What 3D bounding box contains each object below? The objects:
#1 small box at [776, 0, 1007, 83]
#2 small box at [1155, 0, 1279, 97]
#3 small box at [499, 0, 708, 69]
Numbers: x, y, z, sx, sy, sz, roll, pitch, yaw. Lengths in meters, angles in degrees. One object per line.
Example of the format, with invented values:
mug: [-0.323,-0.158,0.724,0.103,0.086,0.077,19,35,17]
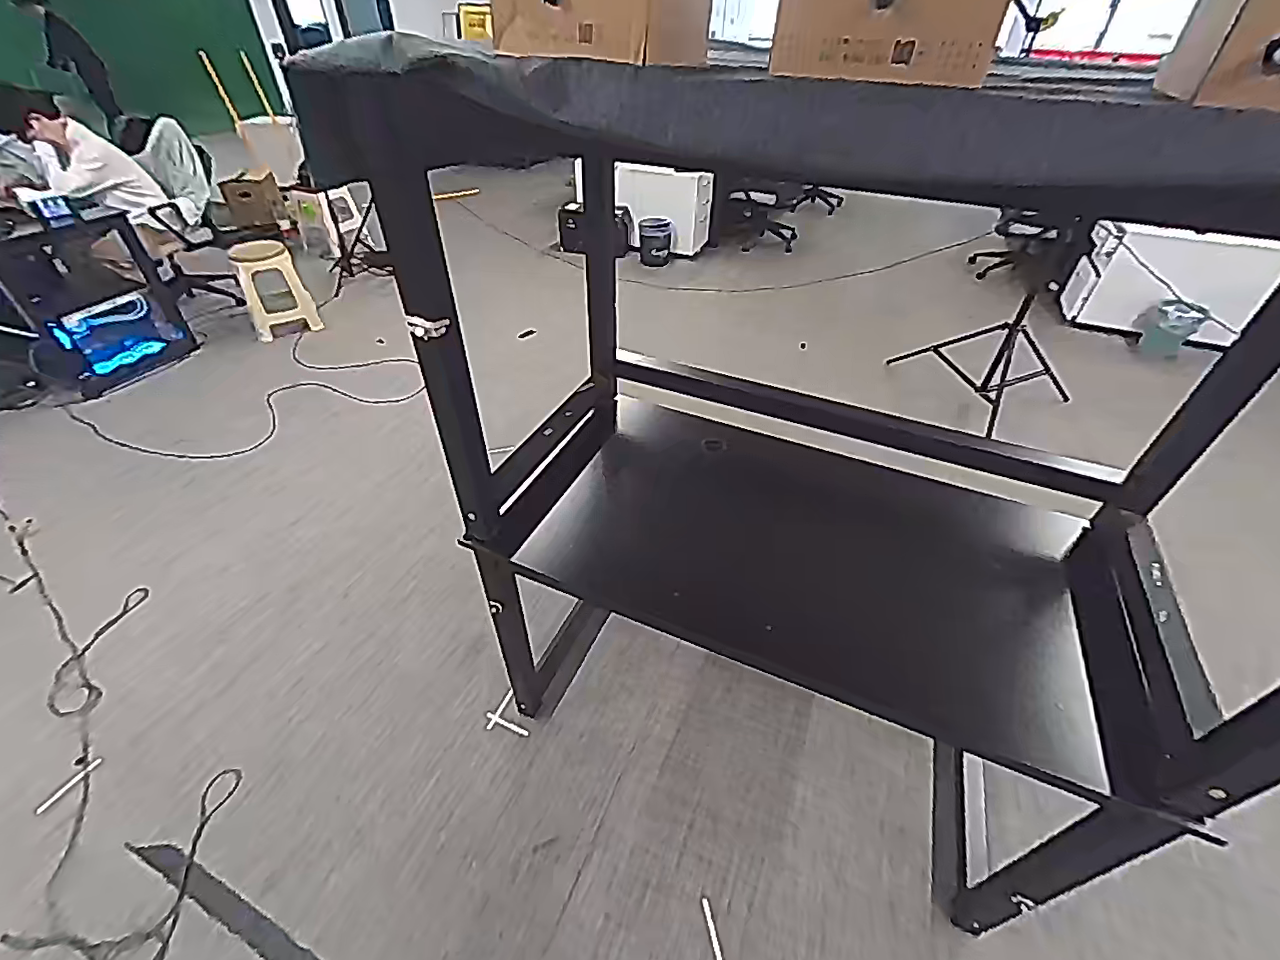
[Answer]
small box: [0.220,-0.434,0.437,0.168,0.176,0.179,18,41,18]
small box: [0.494,-0.351,0.352,0.168,0.176,0.179,20,42,20]
small box: [-0.030,-0.509,0.517,0.168,0.176,0.179,18,42,16]
